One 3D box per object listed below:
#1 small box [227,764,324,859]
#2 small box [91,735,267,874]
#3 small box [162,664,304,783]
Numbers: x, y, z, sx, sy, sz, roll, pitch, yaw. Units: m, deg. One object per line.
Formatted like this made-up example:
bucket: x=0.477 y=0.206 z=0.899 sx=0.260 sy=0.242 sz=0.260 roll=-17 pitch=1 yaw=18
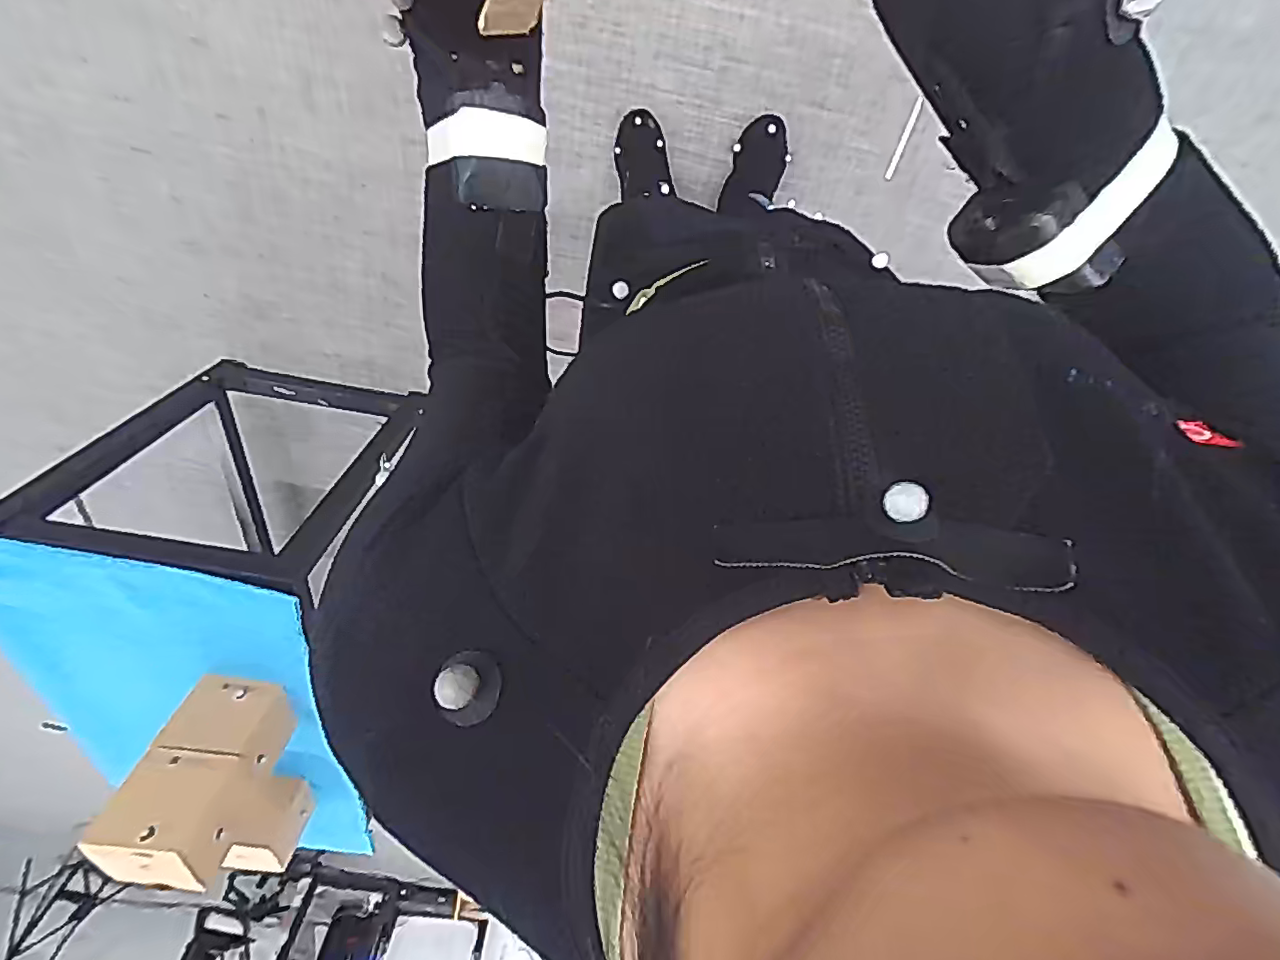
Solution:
small box: x=-0.981 y=0.877 z=1.442 sx=0.179 sy=0.176 sz=0.168 roll=11 pitch=128 yaw=-7
small box: x=-0.867 y=0.623 z=1.043 sx=0.168 sy=0.176 sz=0.179 roll=7 pitch=126 yaw=-1
small box: x=-0.867 y=0.531 z=1.177 sx=0.168 sy=0.176 sz=0.179 roll=9 pitch=127 yaw=-4
